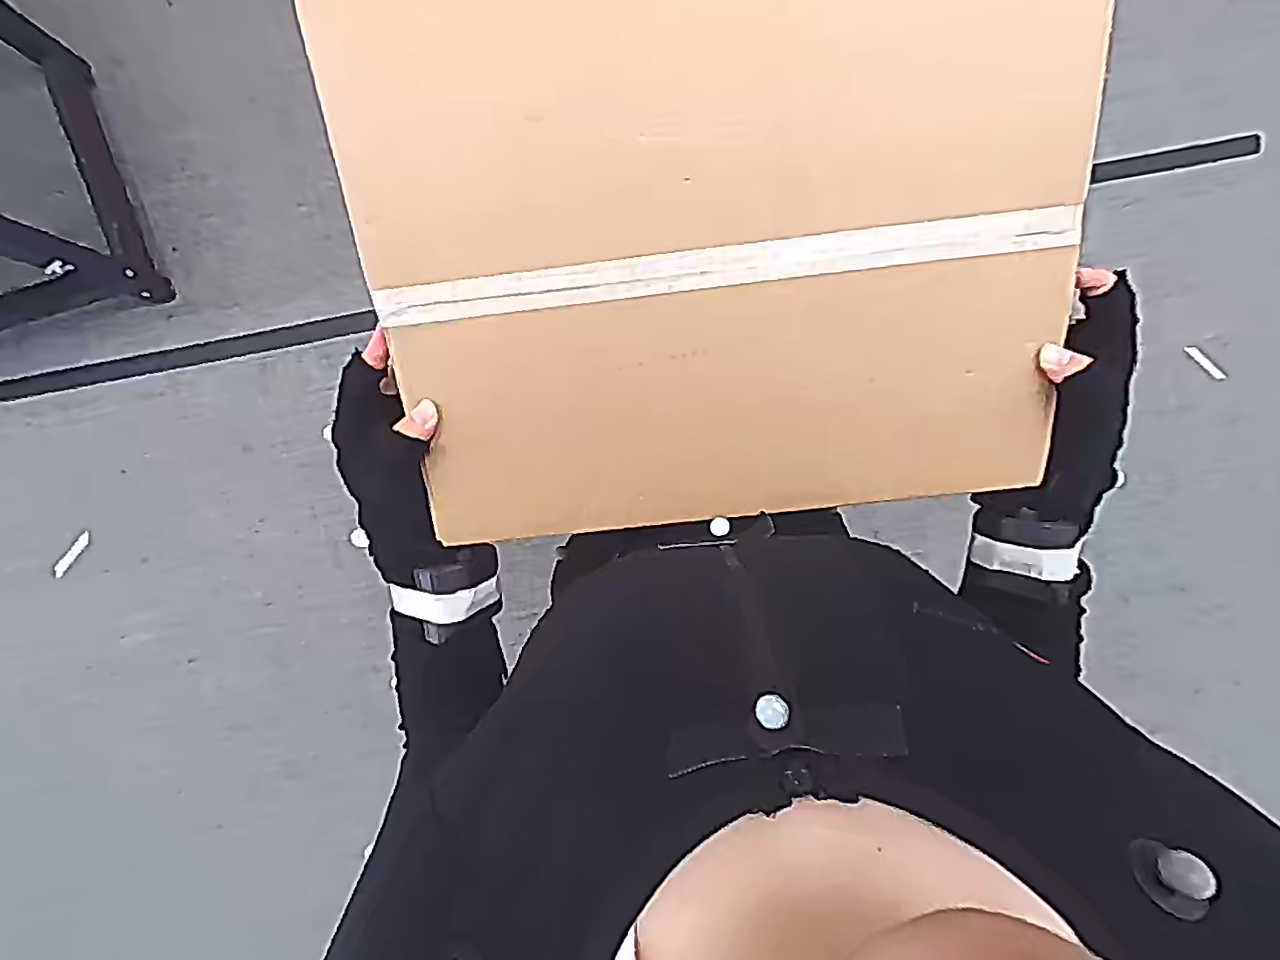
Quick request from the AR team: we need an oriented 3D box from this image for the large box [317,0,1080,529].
[{"bbox_3d":[0.041,-0.179,0.462,0.408,0.320,0.320,-6,110,1],"label":"large box"}]
